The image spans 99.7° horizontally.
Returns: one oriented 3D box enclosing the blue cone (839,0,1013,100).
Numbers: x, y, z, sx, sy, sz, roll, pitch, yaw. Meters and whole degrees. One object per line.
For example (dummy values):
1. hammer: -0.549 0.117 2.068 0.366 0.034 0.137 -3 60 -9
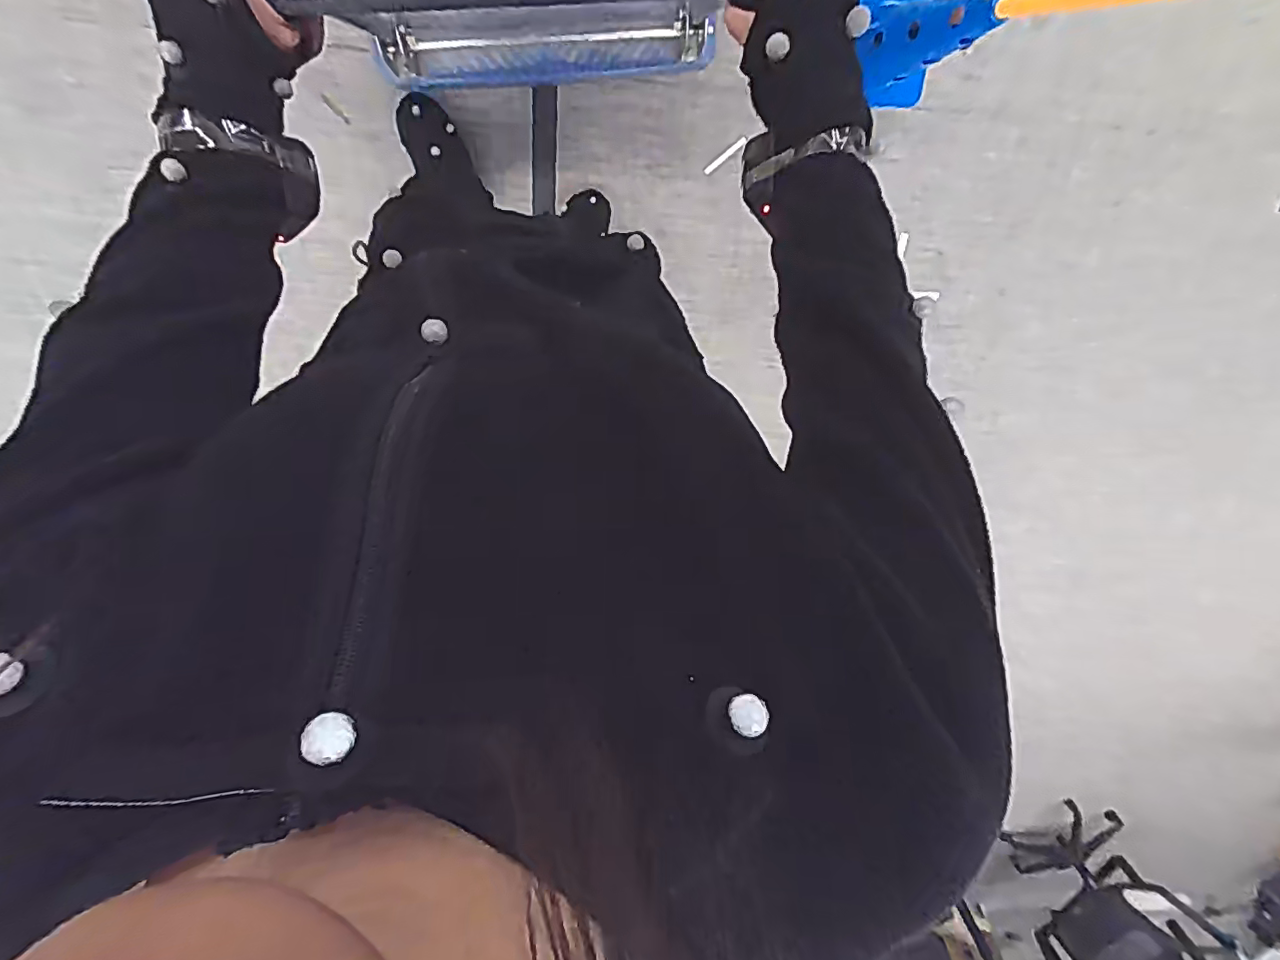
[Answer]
1. blue cone: 0.521 -0.803 0.953 0.193 0.380 0.192 -2 120 -6
